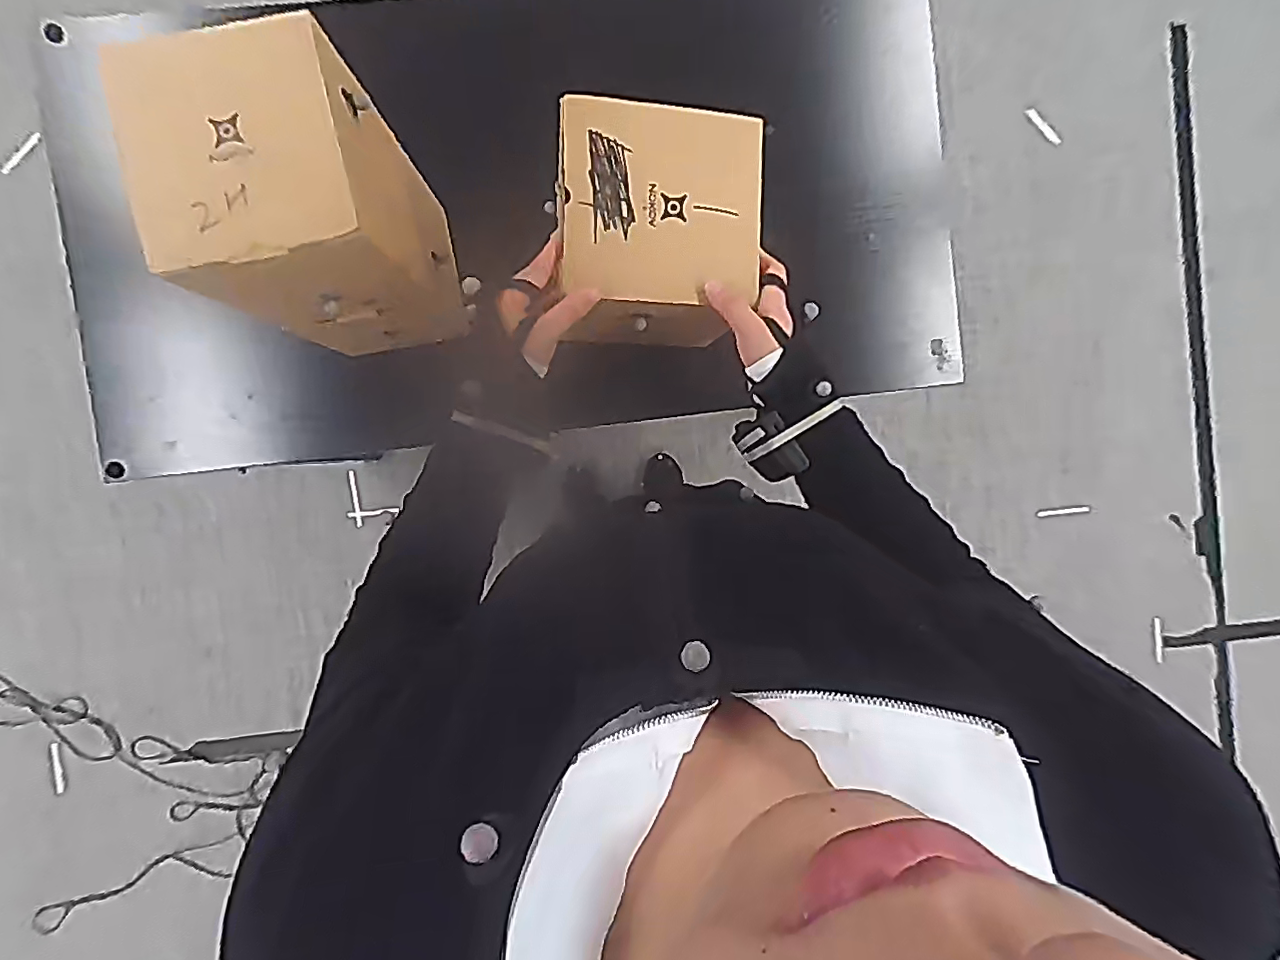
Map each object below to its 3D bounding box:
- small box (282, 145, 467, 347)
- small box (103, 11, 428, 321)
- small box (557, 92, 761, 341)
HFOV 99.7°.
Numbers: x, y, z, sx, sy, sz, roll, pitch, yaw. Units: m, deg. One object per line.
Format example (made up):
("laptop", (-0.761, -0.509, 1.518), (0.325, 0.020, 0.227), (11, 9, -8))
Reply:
("small box", (-0.327, -0.270, 0.667), (0.168, 0.176, 0.179), (-11, 93, -2))
("small box", (-0.319, -0.267, 0.501), (0.168, 0.176, 0.179), (-13, 93, -2))
("small box", (0.007, -0.241, 0.541), (0.179, 0.176, 0.168), (1, 92, -10))
